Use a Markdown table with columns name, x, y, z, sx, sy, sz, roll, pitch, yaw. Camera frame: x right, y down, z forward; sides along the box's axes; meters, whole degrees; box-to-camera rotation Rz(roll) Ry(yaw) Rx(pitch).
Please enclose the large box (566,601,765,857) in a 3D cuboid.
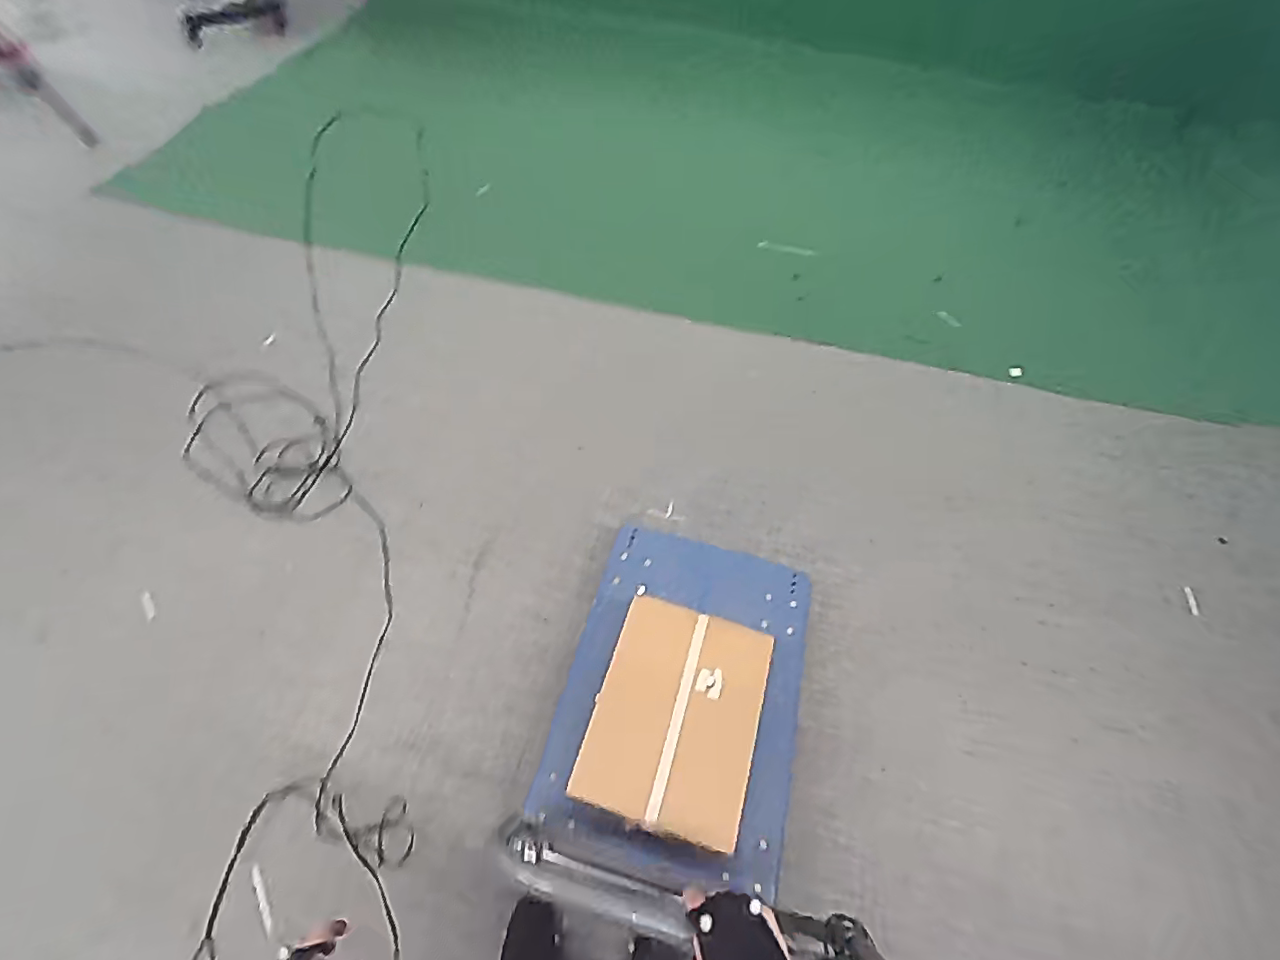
| name | x | y | z | sx | sy | sz | roll | pitch | yaw |
| --- | --- | --- | --- | --- | --- | --- | --- | --- | --- |
| large box | 0.059 | 0.544 | 1.181 | 0.320 | 0.320 | 0.408 | 17 | 56 | 6 |
